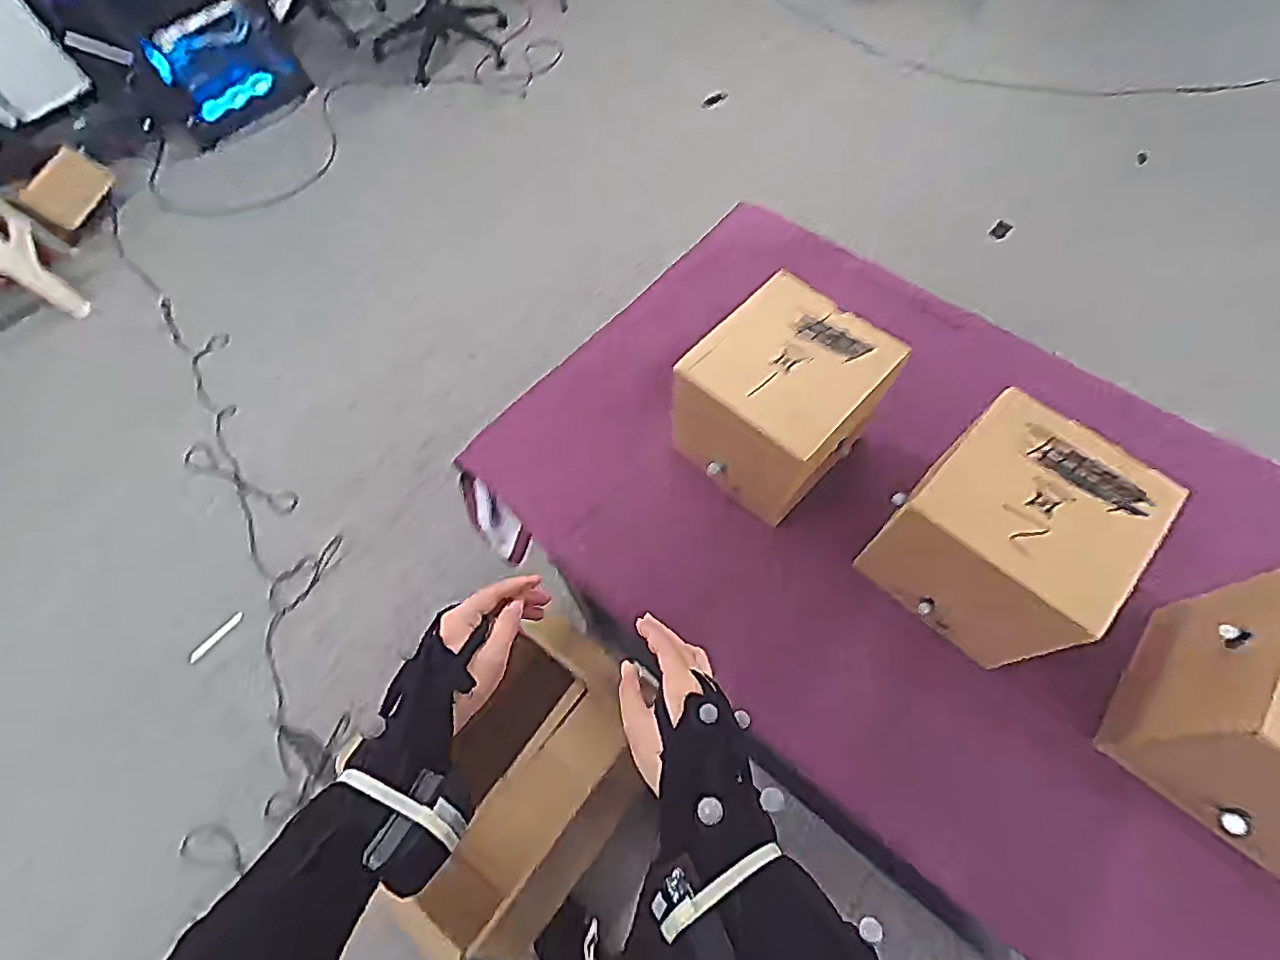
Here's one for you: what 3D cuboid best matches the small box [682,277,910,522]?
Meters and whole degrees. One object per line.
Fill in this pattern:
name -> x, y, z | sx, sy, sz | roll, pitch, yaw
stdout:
small box -> 0.159, -0.085, 0.616 | 0.168, 0.176, 0.179 | 41, 73, 20

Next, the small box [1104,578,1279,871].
small box -> 0.551, 0.203, 0.453 | 0.168, 0.176, 0.179 | 38, 69, 20
